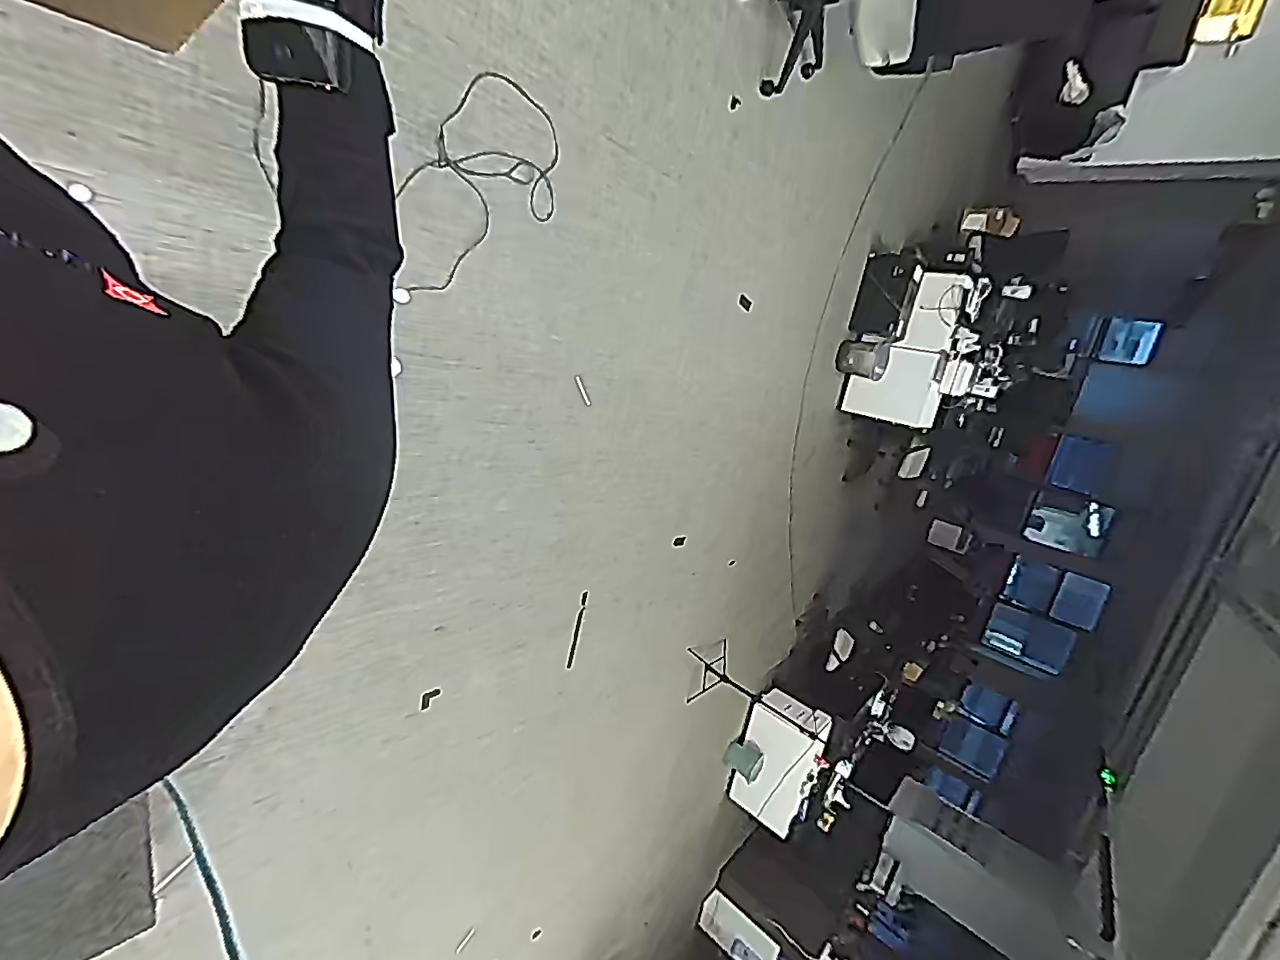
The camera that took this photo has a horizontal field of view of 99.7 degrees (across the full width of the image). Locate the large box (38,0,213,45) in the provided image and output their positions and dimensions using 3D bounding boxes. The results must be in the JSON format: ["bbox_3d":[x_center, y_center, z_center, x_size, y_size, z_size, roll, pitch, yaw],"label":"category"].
[{"bbox_3d":[-0.438,-0.488,0.231,0.408,0.320,0.320,-11,112,-50],"label":"large box"}]
